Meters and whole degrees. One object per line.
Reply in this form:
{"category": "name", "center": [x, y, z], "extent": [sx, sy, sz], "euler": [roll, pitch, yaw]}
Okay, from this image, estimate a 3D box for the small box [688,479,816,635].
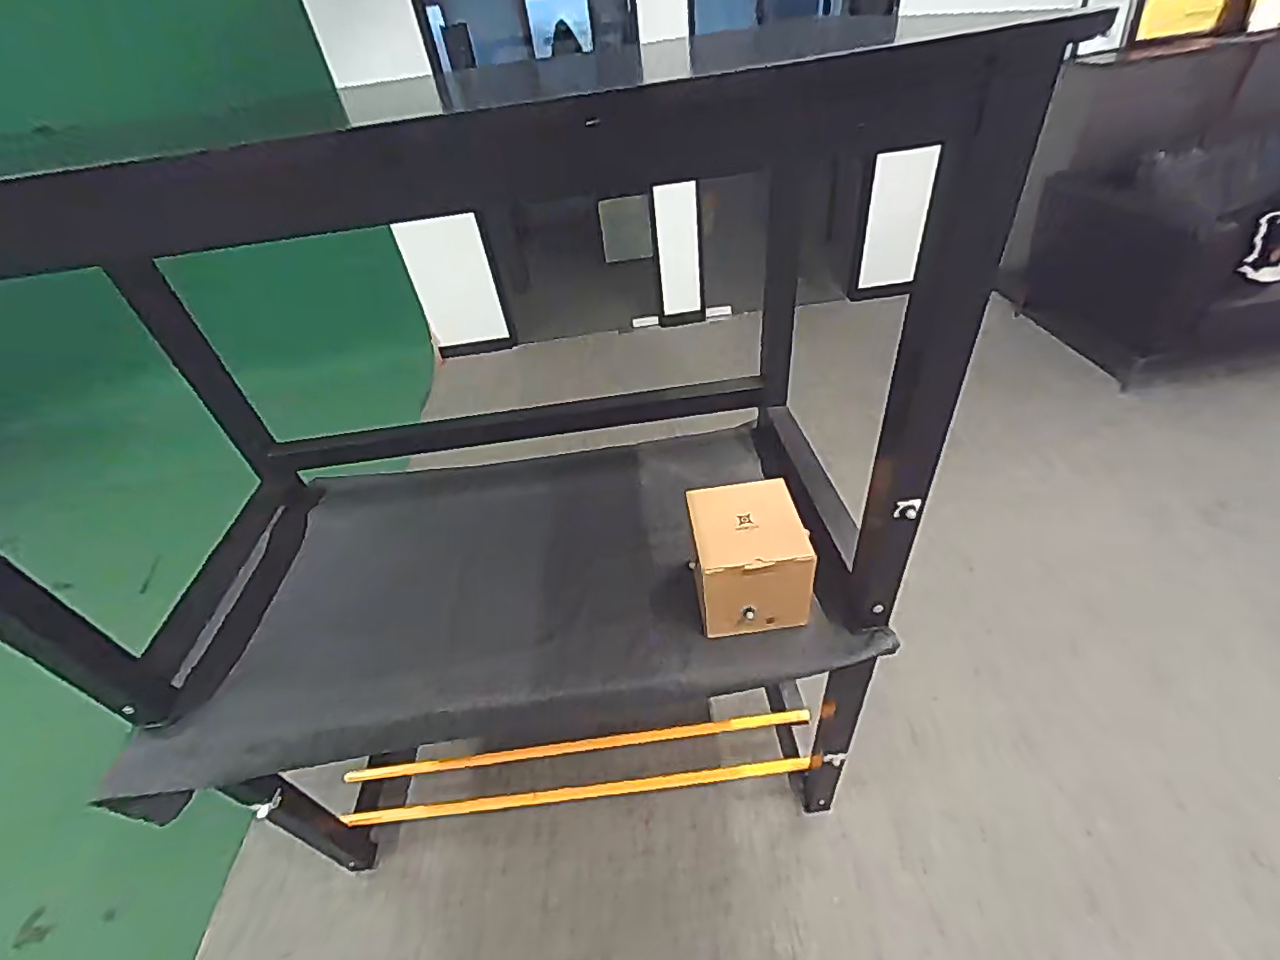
{"category": "small box", "center": [0.172, 0.125, 0.879], "extent": [0.168, 0.176, 0.179], "euler": [-8, 40, 1]}
